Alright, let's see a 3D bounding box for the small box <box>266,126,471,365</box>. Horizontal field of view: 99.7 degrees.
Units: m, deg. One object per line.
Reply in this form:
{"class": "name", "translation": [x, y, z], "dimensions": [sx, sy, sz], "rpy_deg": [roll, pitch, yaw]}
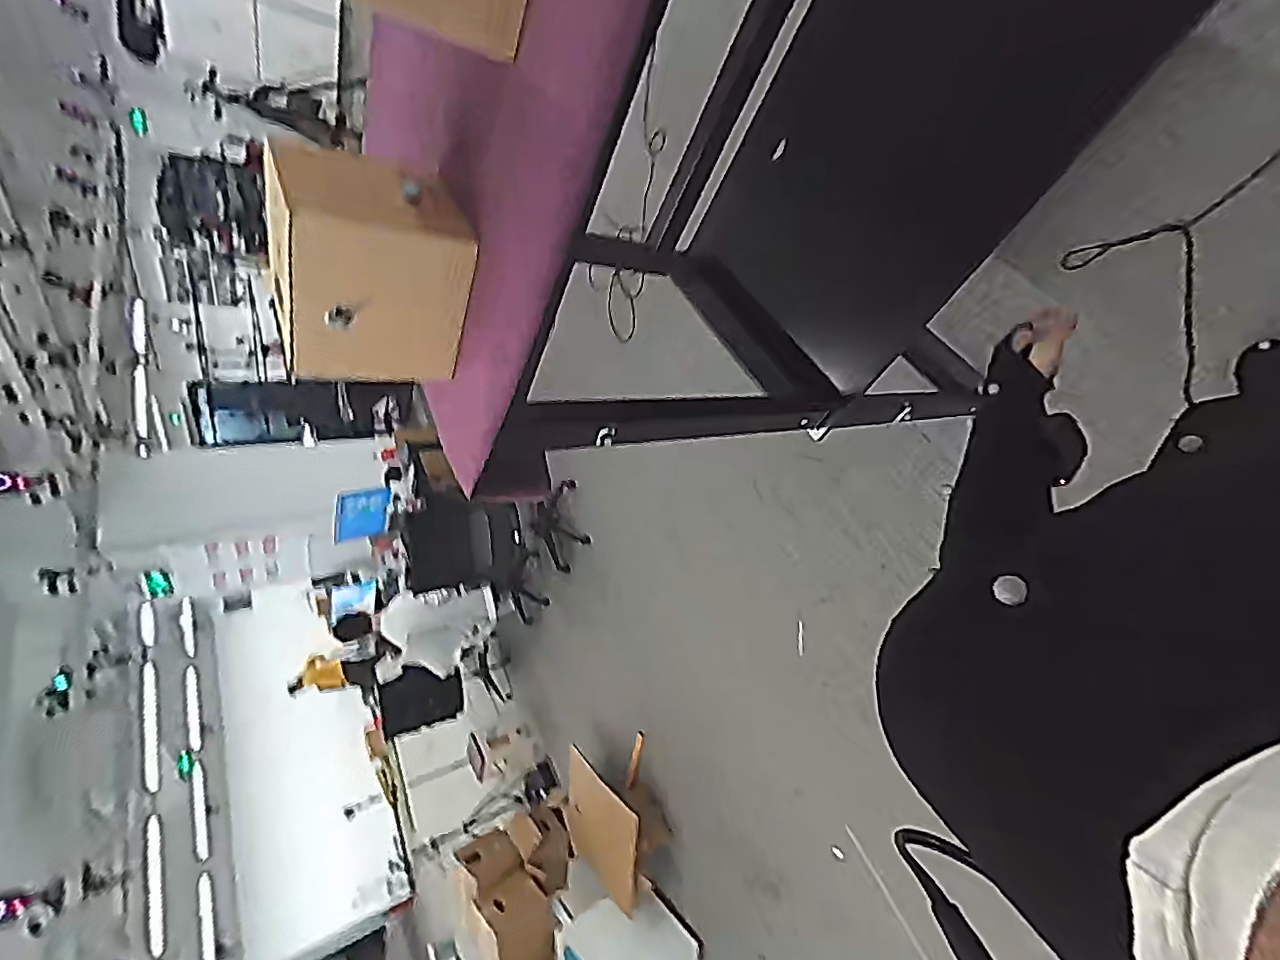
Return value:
{"class": "small box", "translation": [-0.298, -0.241, 0.594], "dimensions": [0.168, 0.176, 0.179], "rpy_deg": [57, 136, 31]}
